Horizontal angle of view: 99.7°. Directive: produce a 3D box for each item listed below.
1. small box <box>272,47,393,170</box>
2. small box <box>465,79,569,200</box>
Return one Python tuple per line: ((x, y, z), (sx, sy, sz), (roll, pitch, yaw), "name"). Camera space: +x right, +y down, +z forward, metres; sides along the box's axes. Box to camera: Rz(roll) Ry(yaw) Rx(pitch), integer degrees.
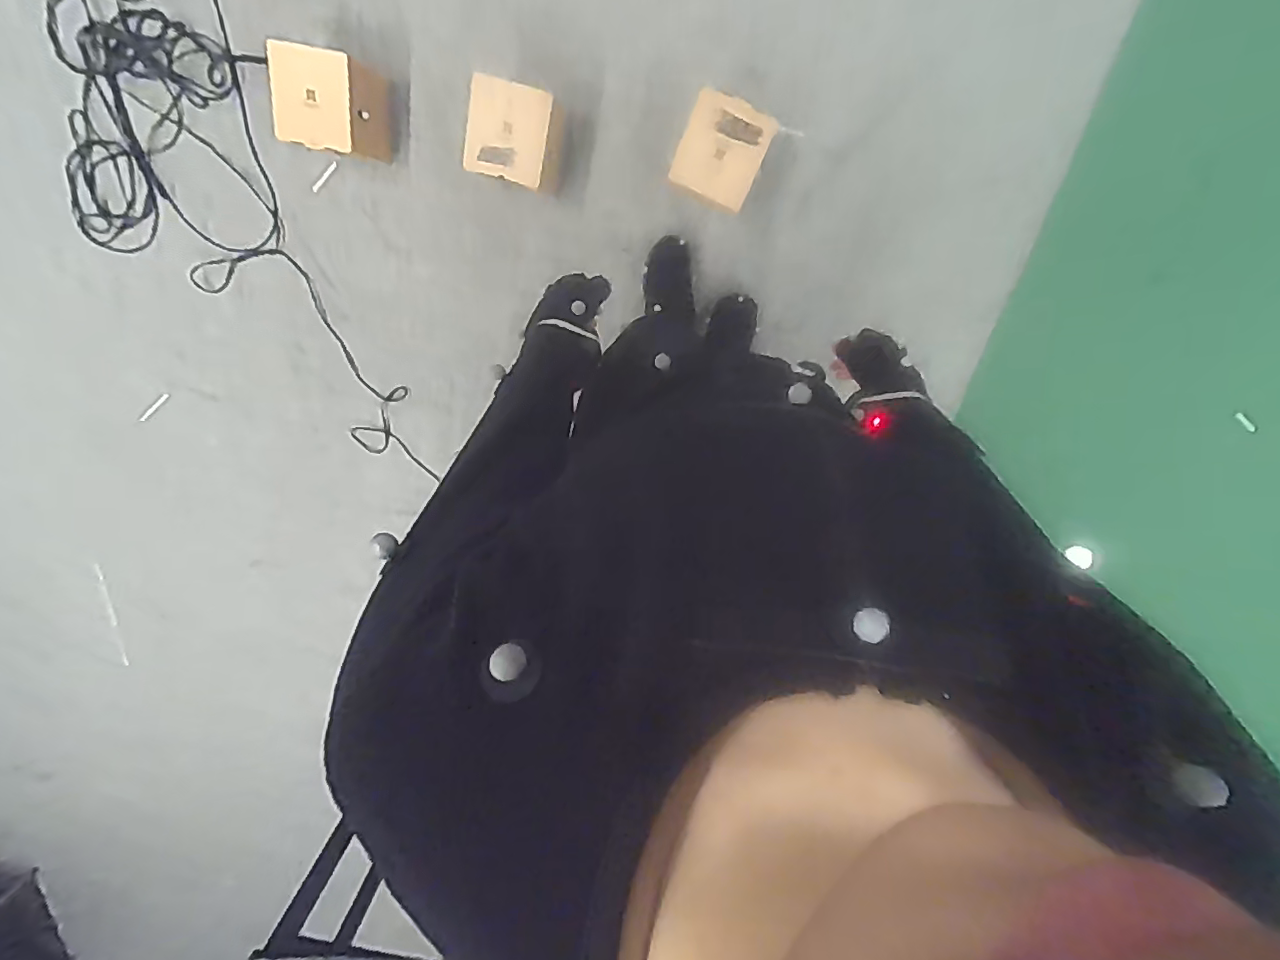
((-0.657, -0.796, 1.176), (0.168, 0.176, 0.179), (11, 114, 1), "small box")
((-0.260, -0.723, 1.170), (0.168, 0.176, 0.179), (16, 113, -1), "small box")
